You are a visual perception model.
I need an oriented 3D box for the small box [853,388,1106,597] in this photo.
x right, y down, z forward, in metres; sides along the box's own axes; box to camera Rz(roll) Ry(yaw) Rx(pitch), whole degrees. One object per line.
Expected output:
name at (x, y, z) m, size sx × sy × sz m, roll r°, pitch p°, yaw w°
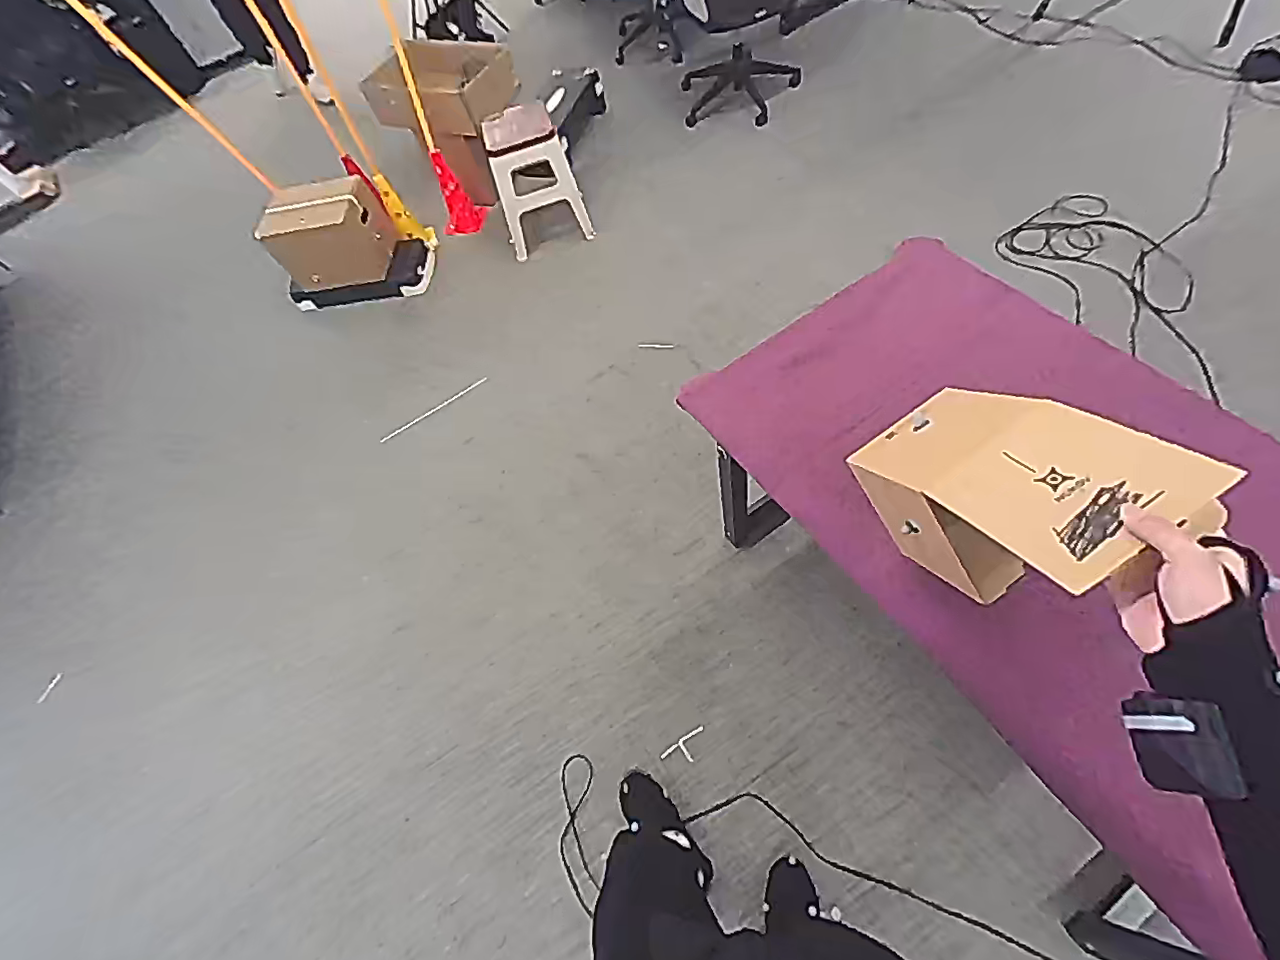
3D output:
small box at (0.404, 0.003, 0.668) m, size 0.168 × 0.179 × 0.176 m, roll -36°, pitch 15°, yaw 3°
